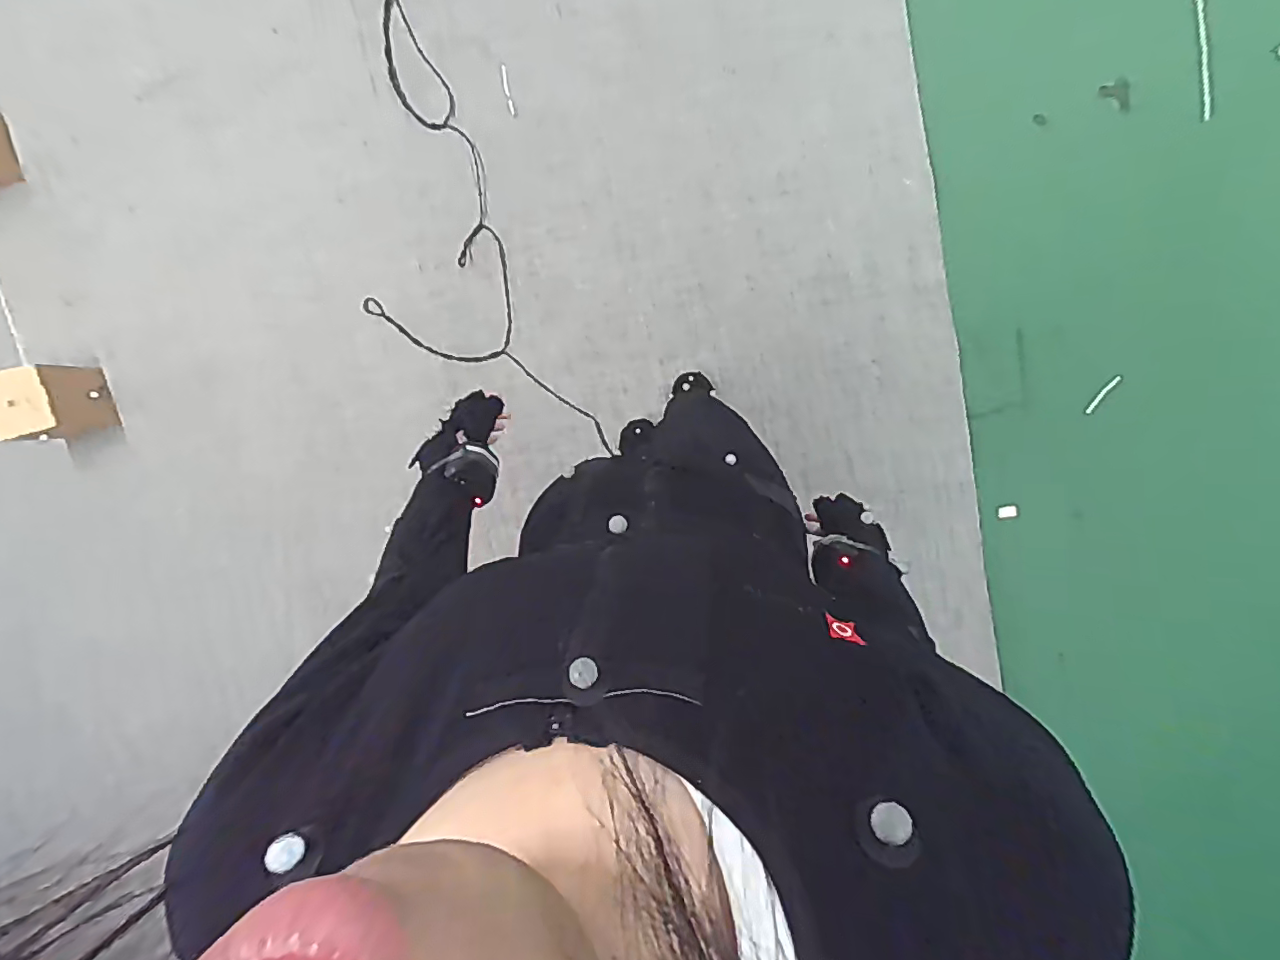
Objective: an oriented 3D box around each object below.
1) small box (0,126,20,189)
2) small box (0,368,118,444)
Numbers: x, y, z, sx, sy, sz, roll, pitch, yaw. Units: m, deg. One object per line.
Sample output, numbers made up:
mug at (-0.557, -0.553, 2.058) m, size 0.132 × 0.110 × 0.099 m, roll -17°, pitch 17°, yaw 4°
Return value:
small box at (-1.759, -0.853, 1.365) m, size 0.168 × 0.176 × 0.179 m, roll -13°, pitch 98°, yaw 4°
small box at (-1.581, -0.197, 1.452) m, size 0.179 × 0.176 × 0.168 m, roll -13°, pitch 98°, yaw 4°
